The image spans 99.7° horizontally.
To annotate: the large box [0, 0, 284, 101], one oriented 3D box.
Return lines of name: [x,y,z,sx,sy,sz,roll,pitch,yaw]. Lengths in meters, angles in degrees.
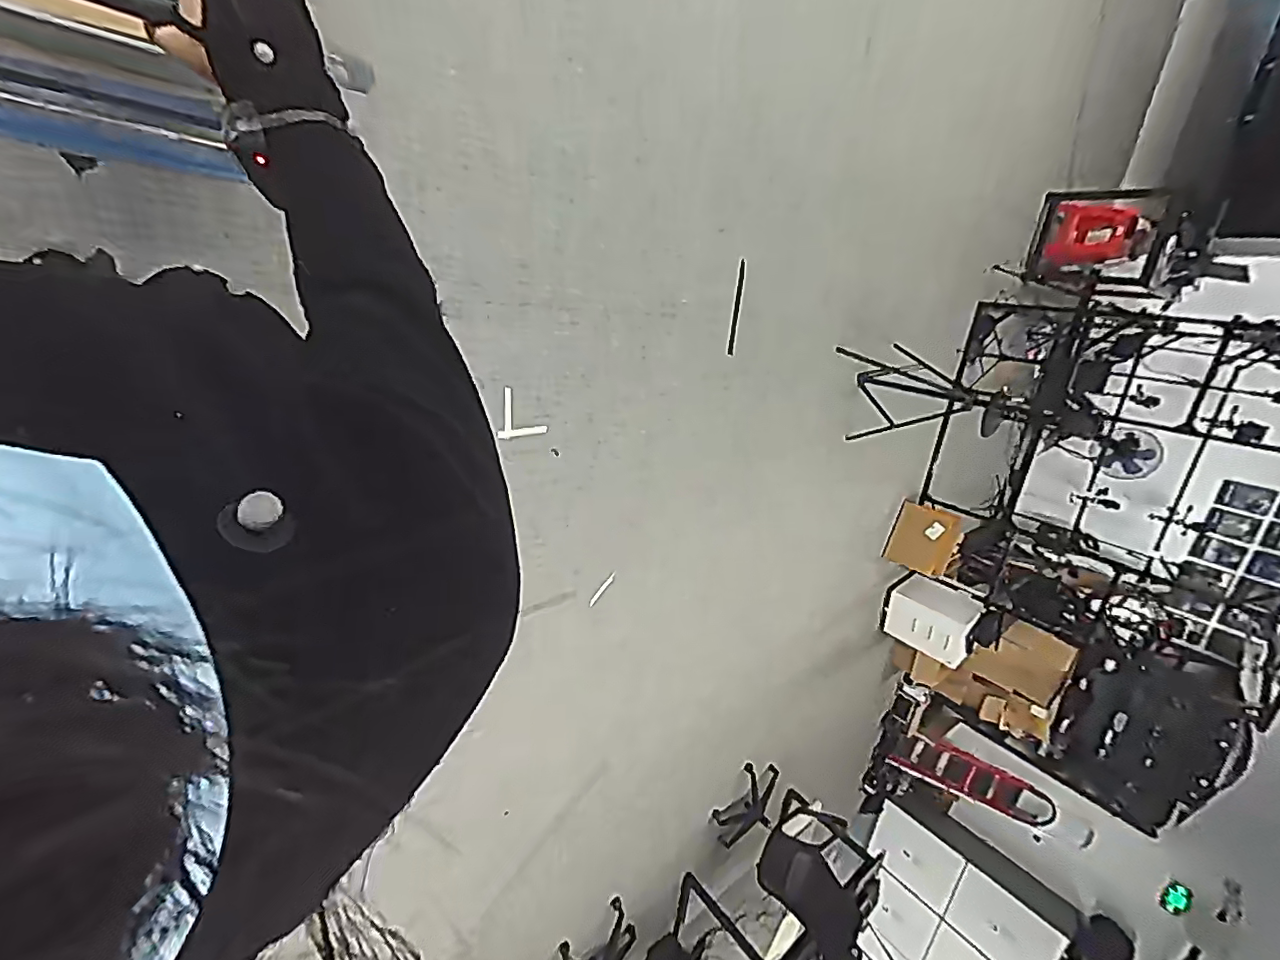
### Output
large box: [-0.735,-0.730,0.682,0.408,0.320,0.320,-13,118,-40]
